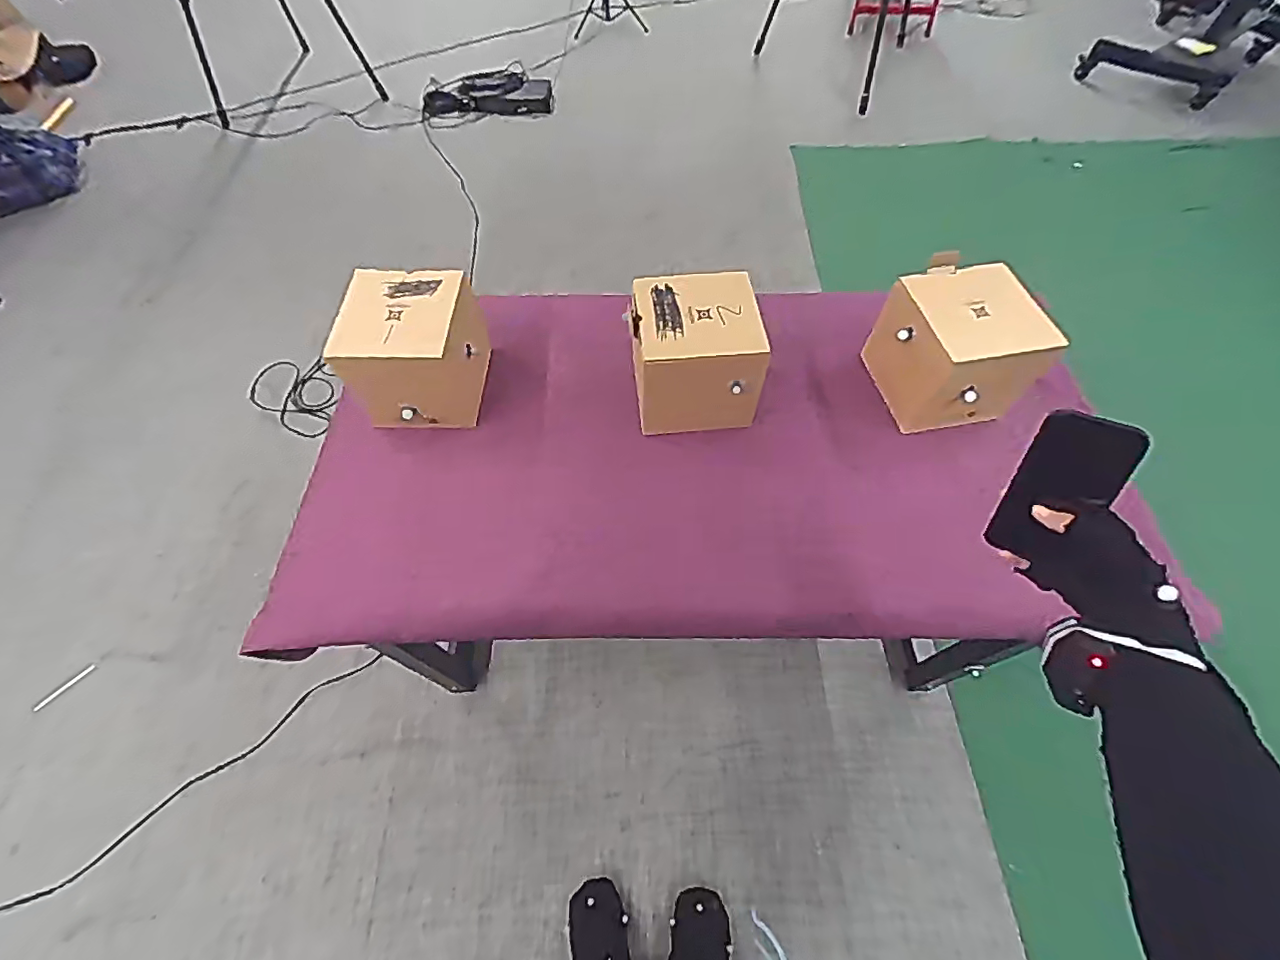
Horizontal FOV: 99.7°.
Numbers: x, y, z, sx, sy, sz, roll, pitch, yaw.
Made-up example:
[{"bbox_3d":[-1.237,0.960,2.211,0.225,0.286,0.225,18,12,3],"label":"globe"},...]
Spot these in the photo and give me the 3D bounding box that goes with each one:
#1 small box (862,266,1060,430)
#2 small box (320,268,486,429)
[{"bbox_3d":[0.468,-0.191,0.824,0.168,0.176,0.179,-9,59,-4],"label":"small box"},{"bbox_3d":[-0.345,-0.198,0.830,0.168,0.176,0.179,1,61,1],"label":"small box"}]
